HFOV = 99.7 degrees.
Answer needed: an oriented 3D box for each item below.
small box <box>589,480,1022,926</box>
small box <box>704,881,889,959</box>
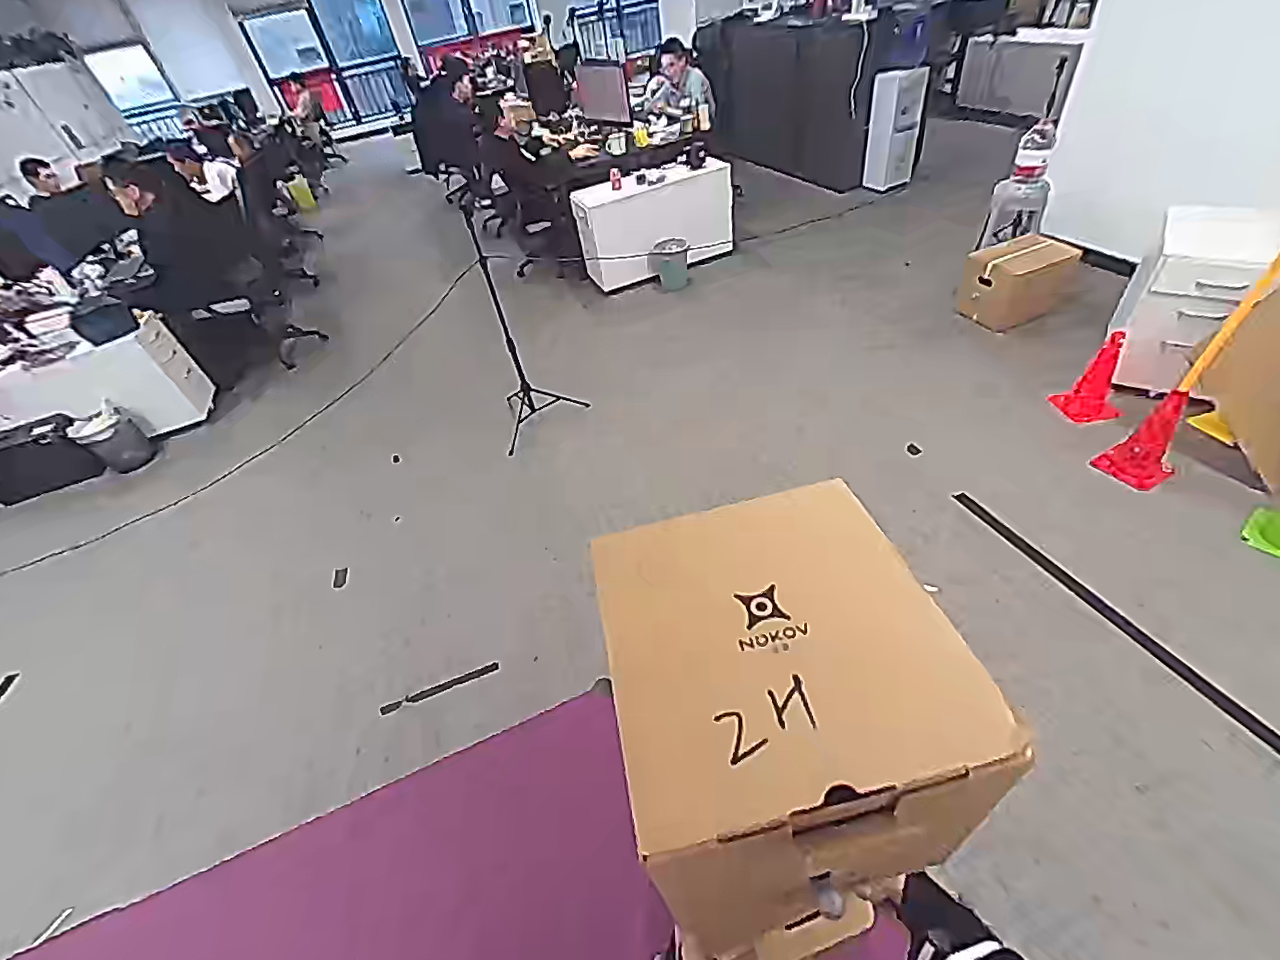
[{"bbox_3d":[0.072,0.131,0.328,0.168,0.176,0.179,-14,42,-1],"label":"small box"},{"bbox_3d":[0.123,0.363,0.555,0.168,0.176,0.179,-19,41,-7],"label":"small box"}]
